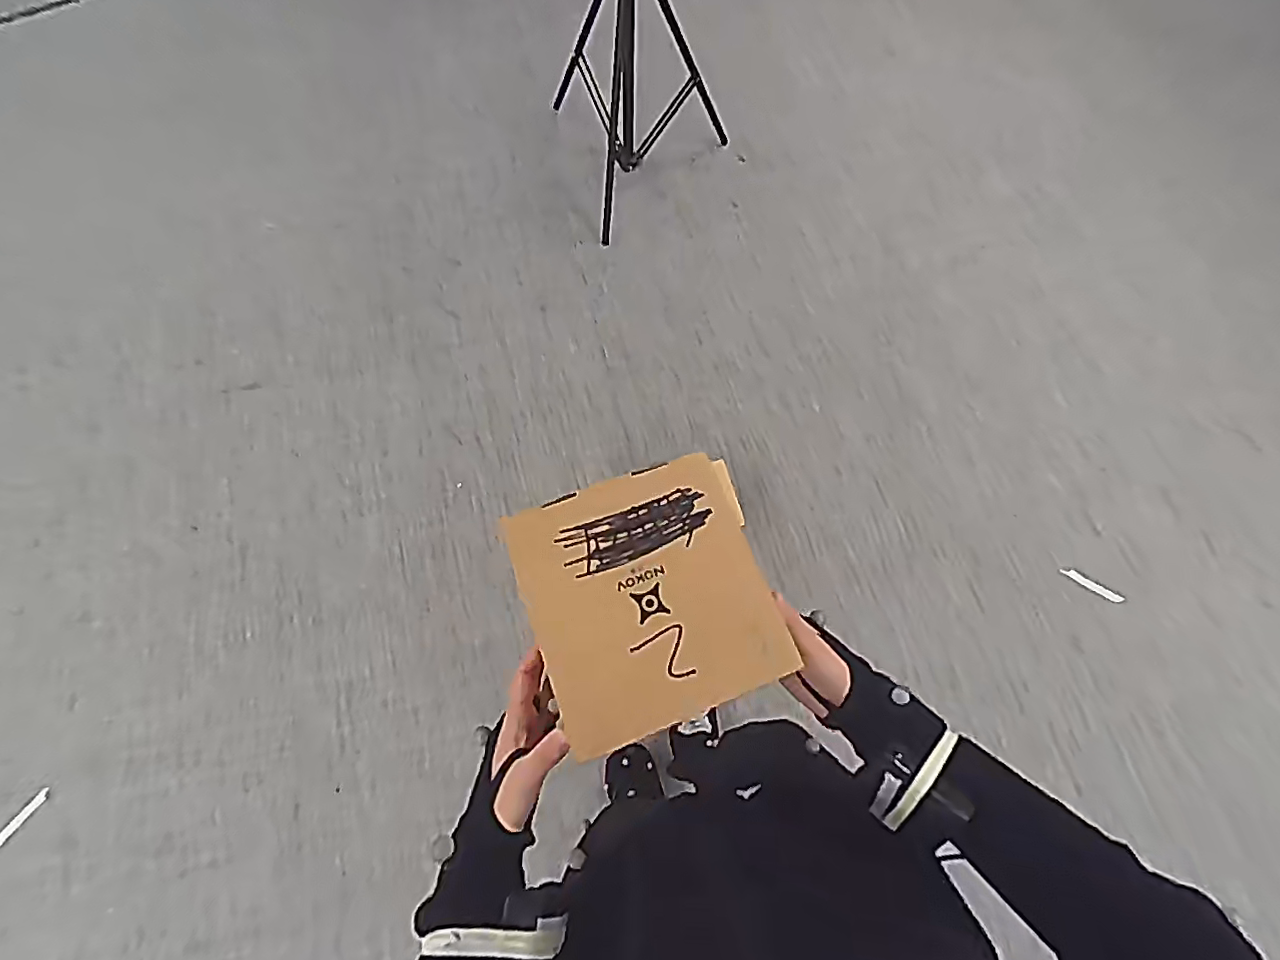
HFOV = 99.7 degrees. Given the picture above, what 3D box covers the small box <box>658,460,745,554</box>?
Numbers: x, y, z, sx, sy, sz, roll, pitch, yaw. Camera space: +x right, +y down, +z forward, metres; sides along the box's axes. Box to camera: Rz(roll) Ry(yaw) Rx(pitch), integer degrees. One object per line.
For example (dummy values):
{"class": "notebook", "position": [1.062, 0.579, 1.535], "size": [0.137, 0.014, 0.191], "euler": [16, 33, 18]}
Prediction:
{"class": "small box", "position": [0.147, 0.073, 1.370], "size": [0.168, 0.176, 0.179], "euler": [-14, 72, -6]}
